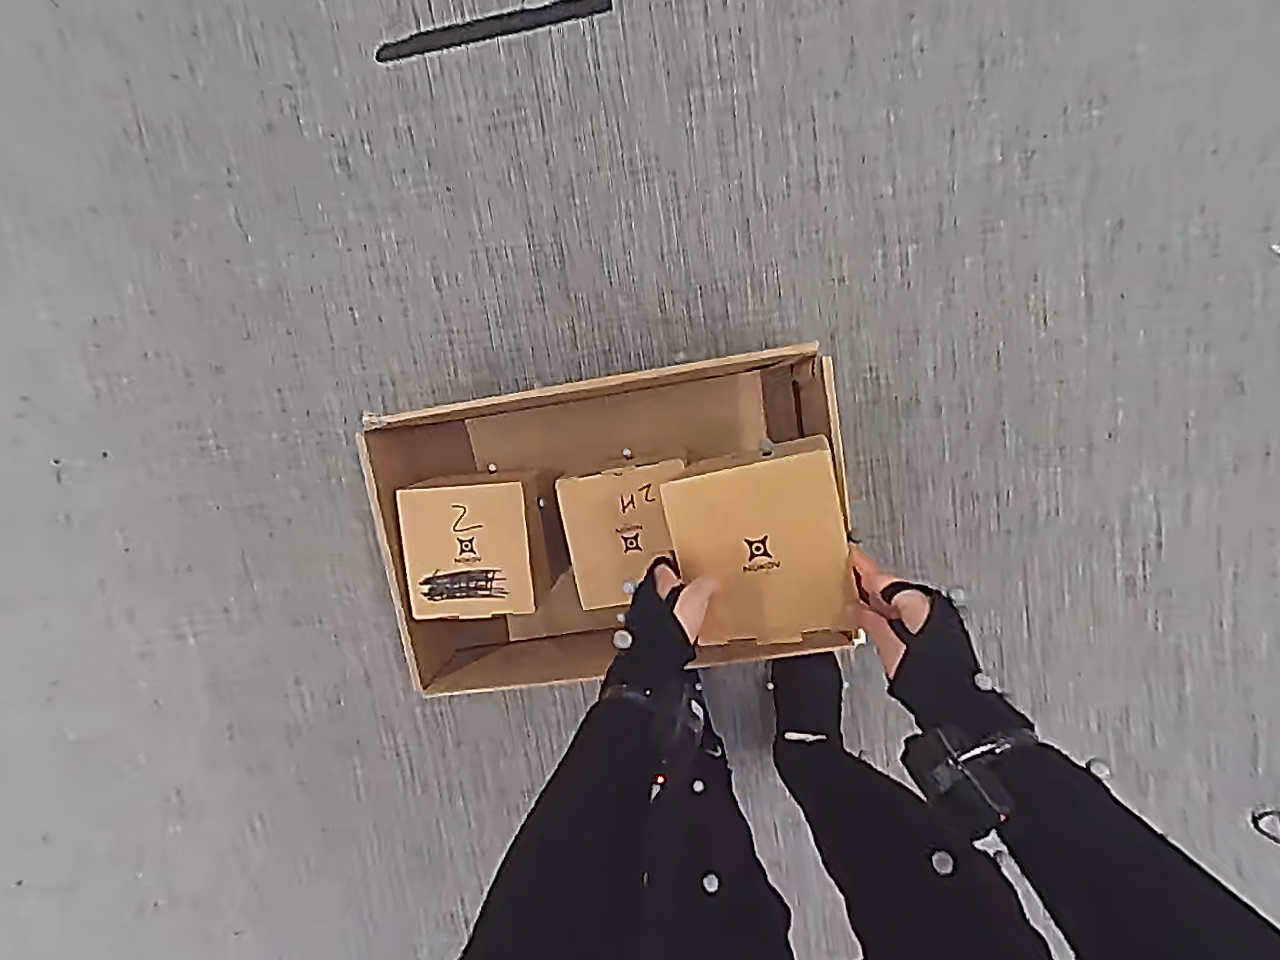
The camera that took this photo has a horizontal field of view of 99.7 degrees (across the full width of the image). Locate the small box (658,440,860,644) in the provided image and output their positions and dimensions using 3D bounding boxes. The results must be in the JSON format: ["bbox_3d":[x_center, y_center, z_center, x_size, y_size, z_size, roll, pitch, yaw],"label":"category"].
[{"bbox_3d":[0.133,0.056,0.595,0.168,0.176,0.179,-12,97,19],"label":"small box"}]

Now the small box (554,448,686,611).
[{"bbox_3d":[-0.006,0.060,0.757,0.168,0.176,0.179,-11,97,6],"label":"small box"}]
